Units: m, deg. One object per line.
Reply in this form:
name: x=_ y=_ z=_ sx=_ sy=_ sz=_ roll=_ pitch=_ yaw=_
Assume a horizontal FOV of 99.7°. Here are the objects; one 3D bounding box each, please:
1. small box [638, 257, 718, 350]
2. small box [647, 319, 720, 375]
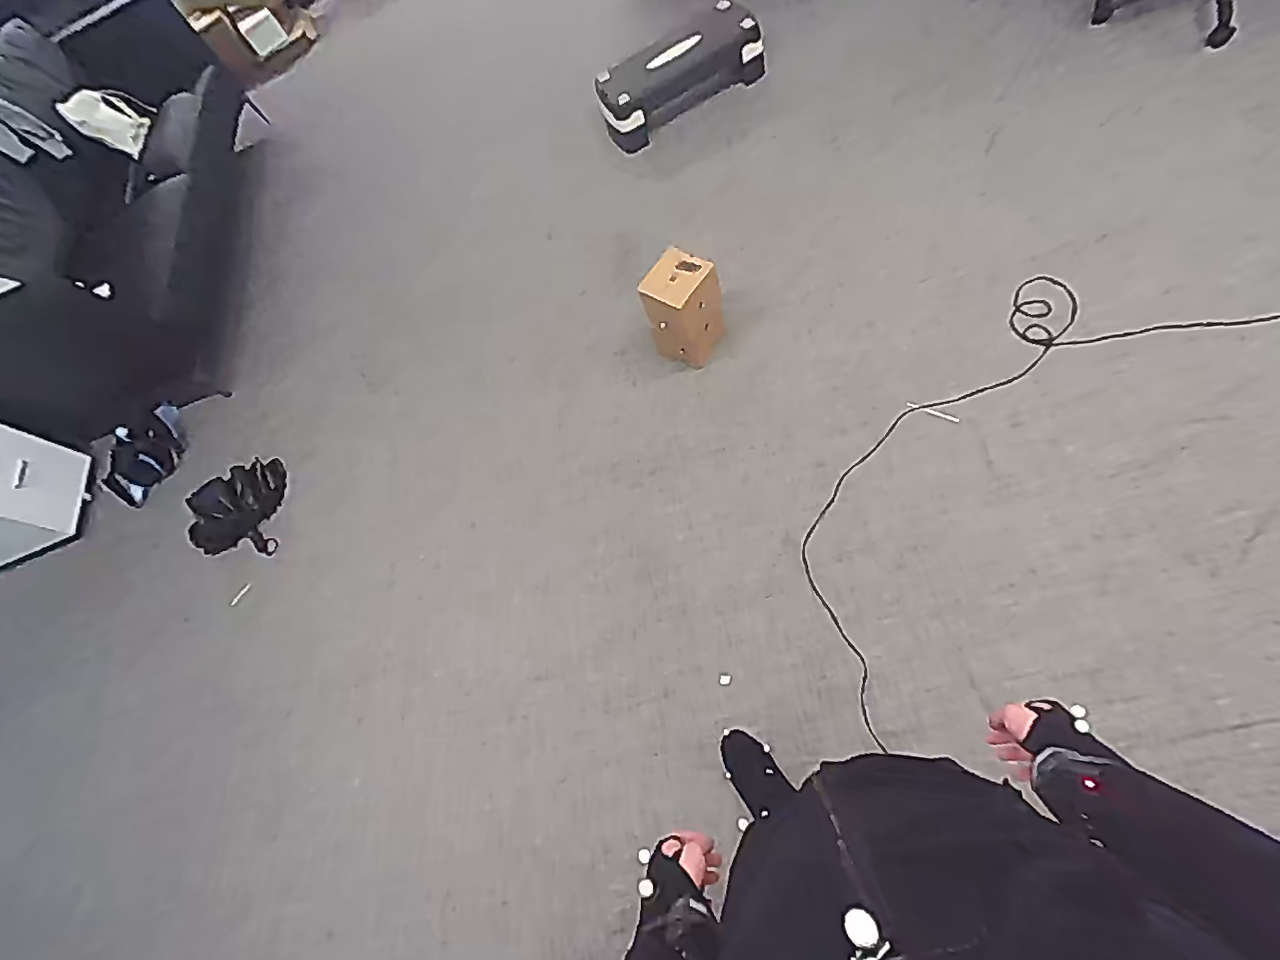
small box: x=0.123 y=-0.531 z=1.639 sx=0.168 sy=0.176 sz=0.179 roll=33 pitch=81 yaw=26
small box: x=0.153 y=-0.476 z=1.792 sx=0.168 sy=0.176 sz=0.179 roll=25 pitch=75 yaw=24
